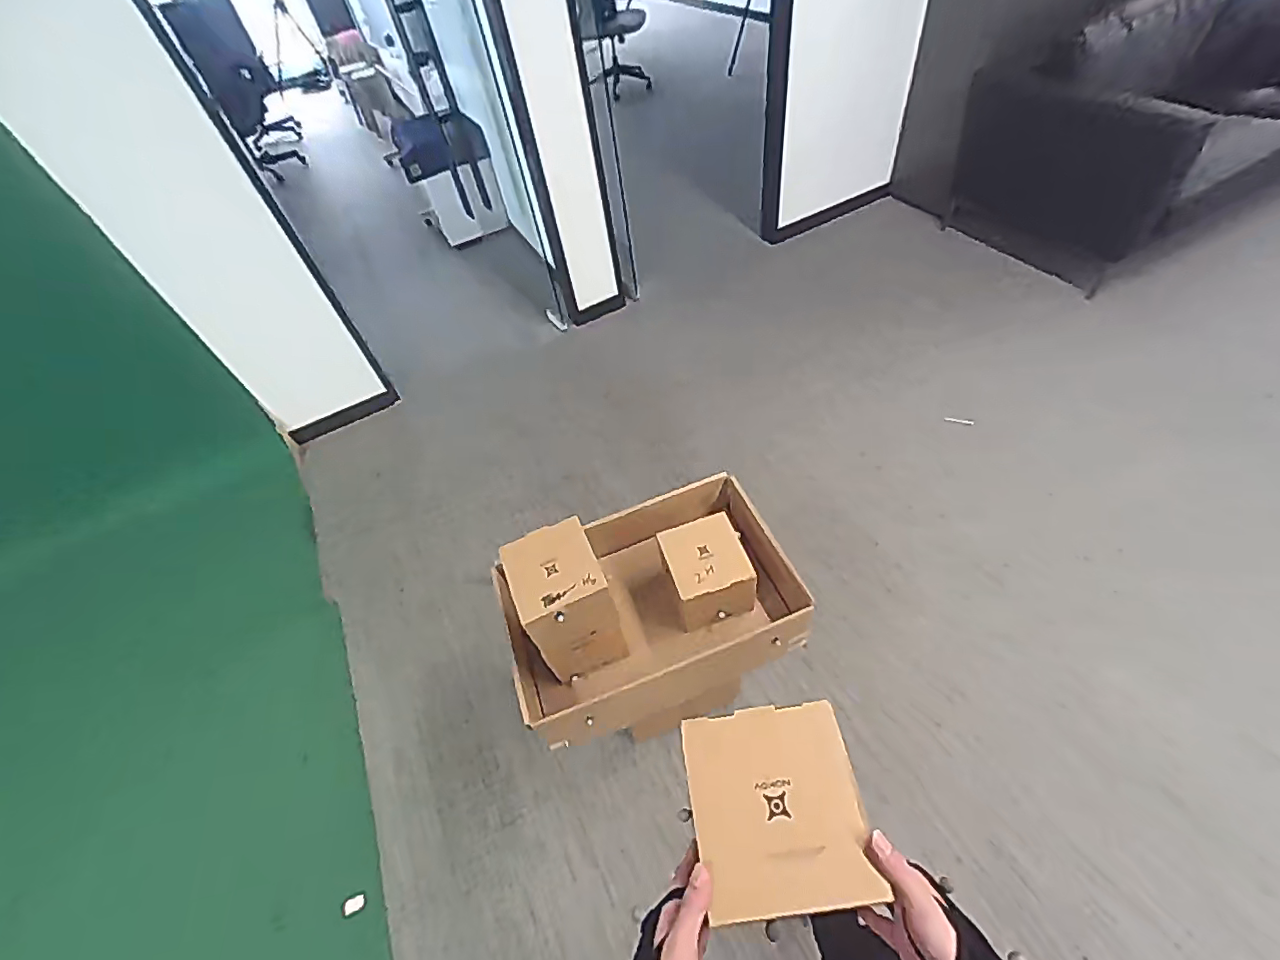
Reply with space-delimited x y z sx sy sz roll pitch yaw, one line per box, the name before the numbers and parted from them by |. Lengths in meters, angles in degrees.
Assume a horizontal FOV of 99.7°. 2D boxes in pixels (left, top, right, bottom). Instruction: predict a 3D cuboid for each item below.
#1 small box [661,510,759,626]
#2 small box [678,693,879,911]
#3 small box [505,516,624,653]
small box | 0.156 0.201 1.220 0.168 0.176 0.179 -18 52 -3
small box | 0.137 0.361 0.603 0.168 0.176 0.179 -9 51 2
small box | -0.146 0.208 1.066 0.168 0.176 0.179 -24 52 -7
